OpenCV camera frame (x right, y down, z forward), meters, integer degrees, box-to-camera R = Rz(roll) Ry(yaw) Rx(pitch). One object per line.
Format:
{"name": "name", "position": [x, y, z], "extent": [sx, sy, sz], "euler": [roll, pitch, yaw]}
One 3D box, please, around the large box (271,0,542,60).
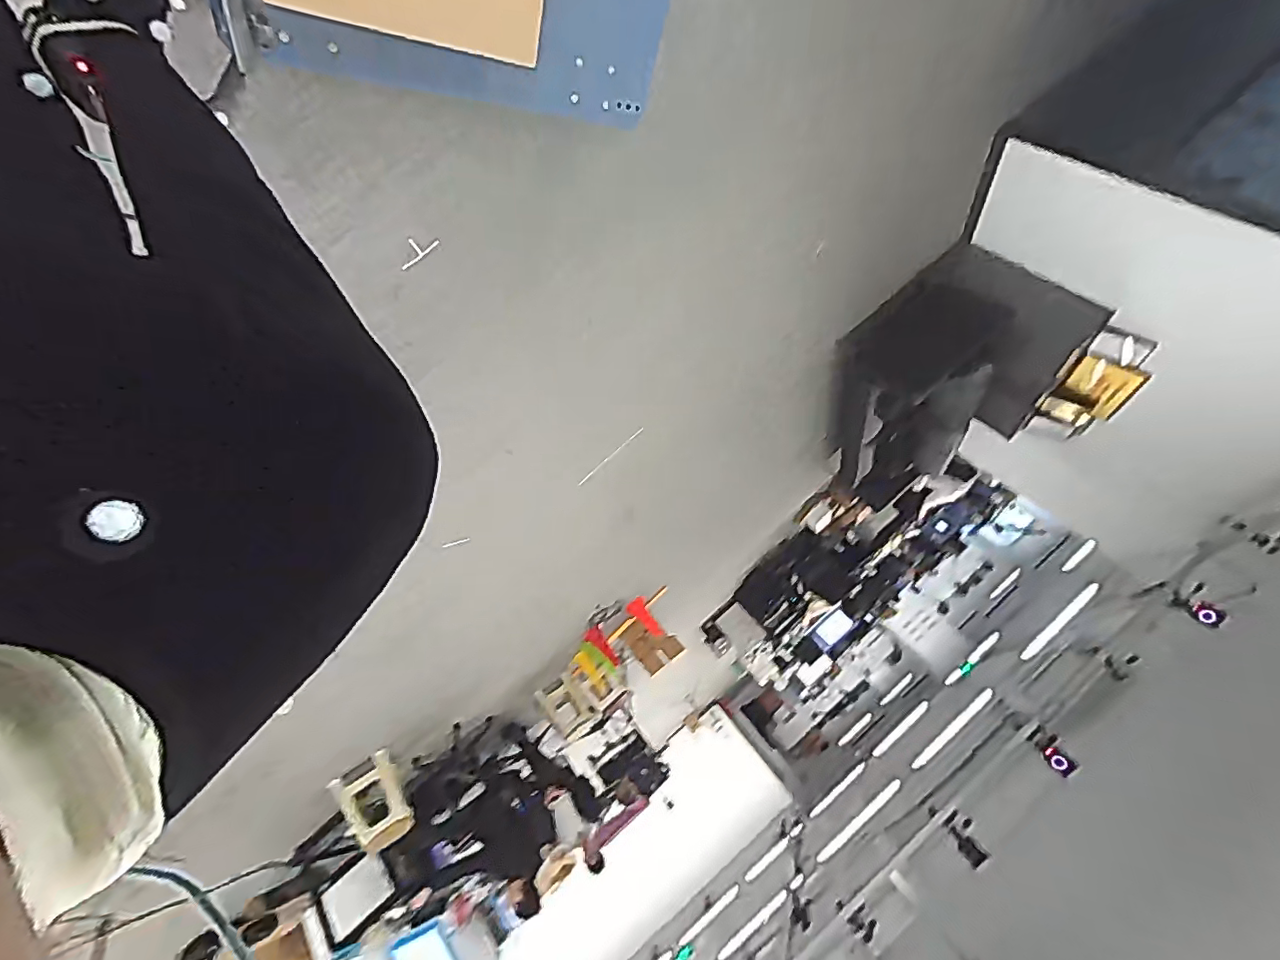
{"name": "large box", "position": [-0.381, -0.913, 0.841], "extent": [0.408, 0.320, 0.320], "euler": [-8, 138, -28]}
